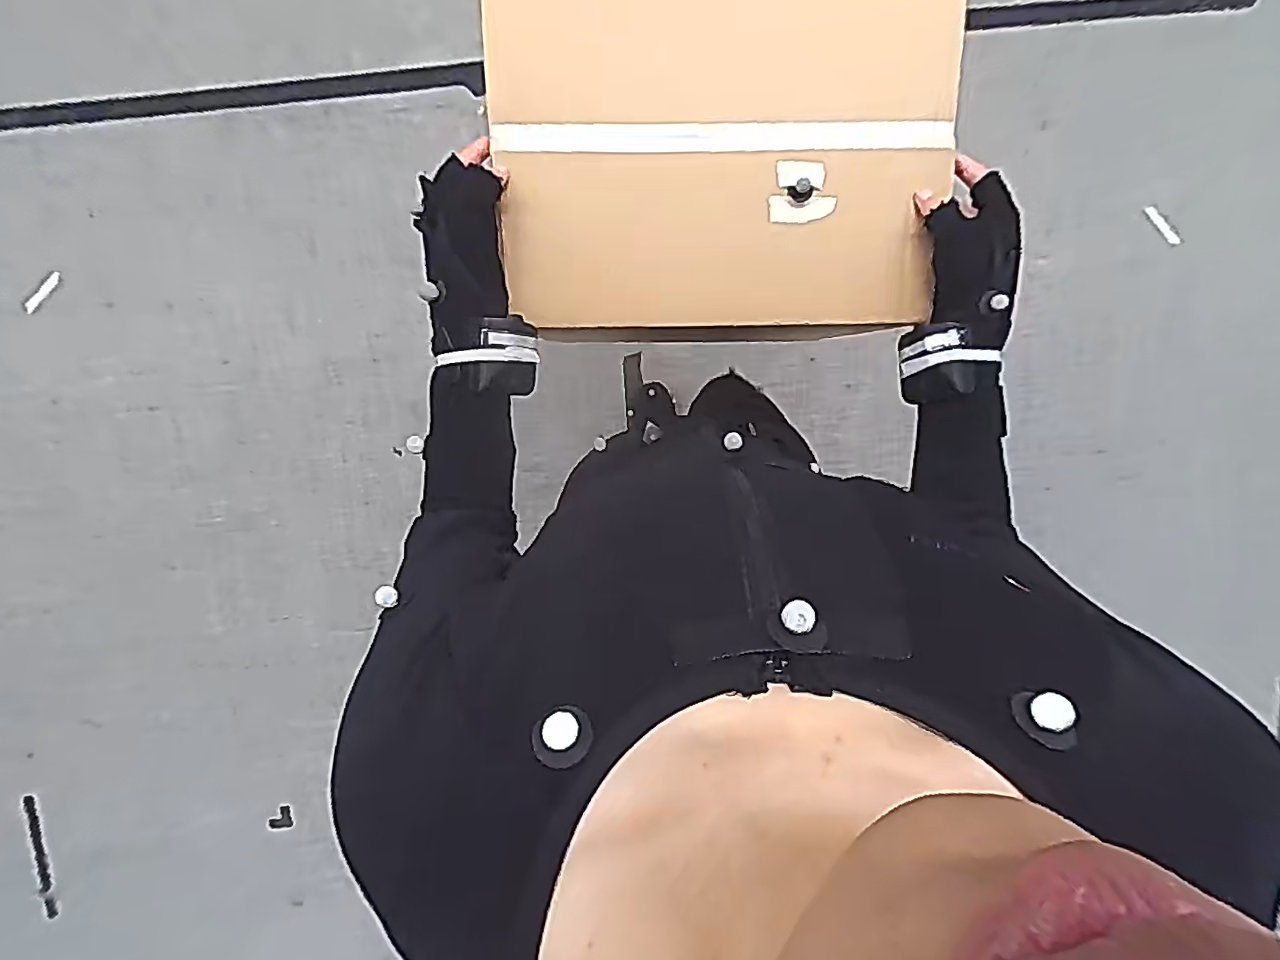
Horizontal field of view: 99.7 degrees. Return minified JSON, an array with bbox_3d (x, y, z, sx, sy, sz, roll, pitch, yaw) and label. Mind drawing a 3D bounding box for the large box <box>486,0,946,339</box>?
[{"bbox_3d":[0.063,-0.338,0.628,0.408,0.320,0.320,-1,102,-2],"label":"large box"}]
